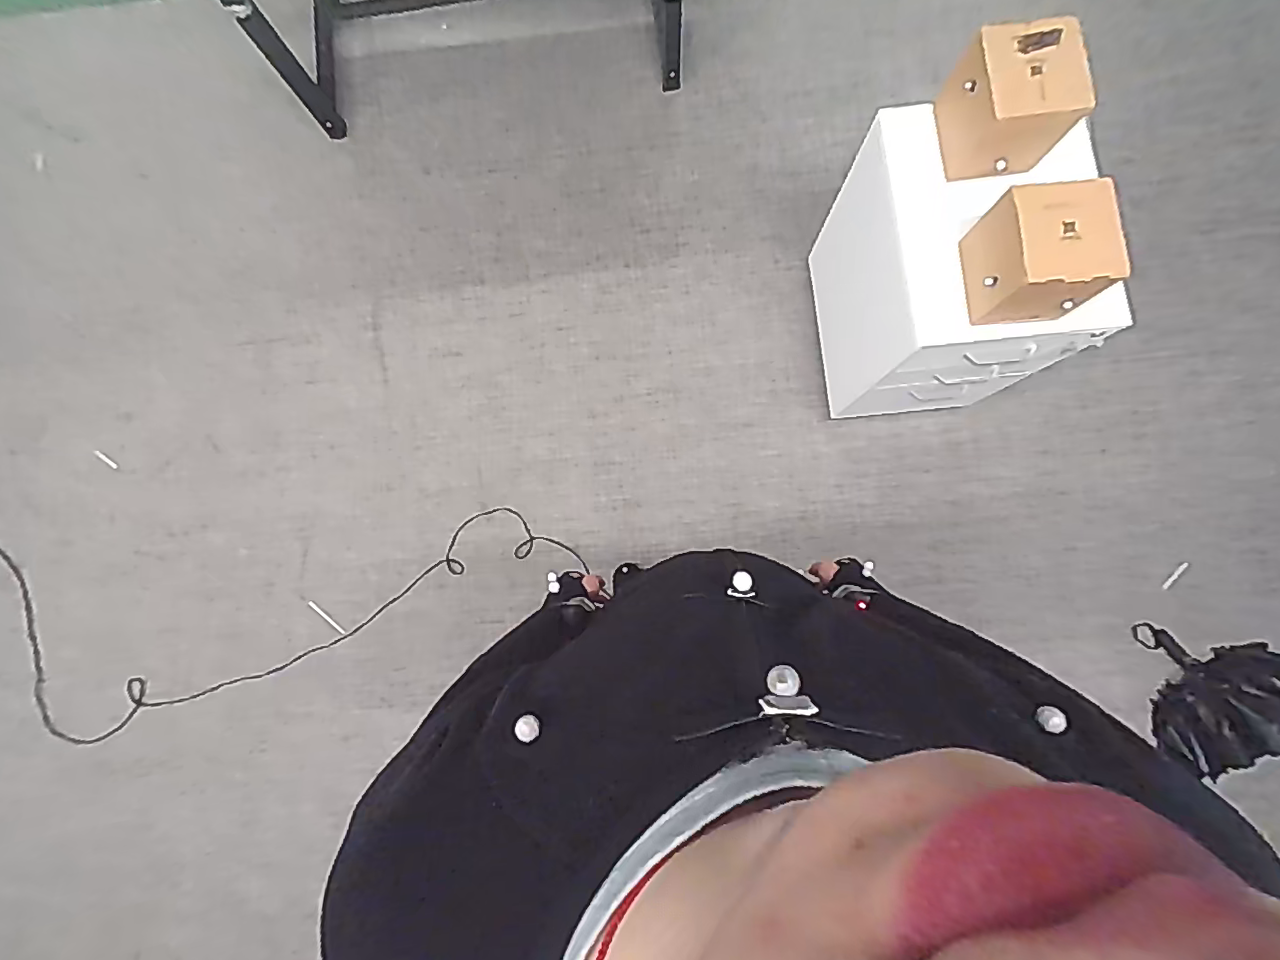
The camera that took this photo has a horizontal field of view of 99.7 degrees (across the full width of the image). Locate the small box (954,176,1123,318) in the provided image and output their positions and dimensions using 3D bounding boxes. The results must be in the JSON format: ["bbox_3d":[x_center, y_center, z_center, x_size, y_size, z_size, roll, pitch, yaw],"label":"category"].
[{"bbox_3d":[0.691,-0.399,0.959,0.168,0.176,0.179,-4,81,0],"label":"small box"}]

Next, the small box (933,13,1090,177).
[{"bbox_3d":[0.666,-0.696,0.993,0.168,0.176,0.179,-6,85,1],"label":"small box"}]
